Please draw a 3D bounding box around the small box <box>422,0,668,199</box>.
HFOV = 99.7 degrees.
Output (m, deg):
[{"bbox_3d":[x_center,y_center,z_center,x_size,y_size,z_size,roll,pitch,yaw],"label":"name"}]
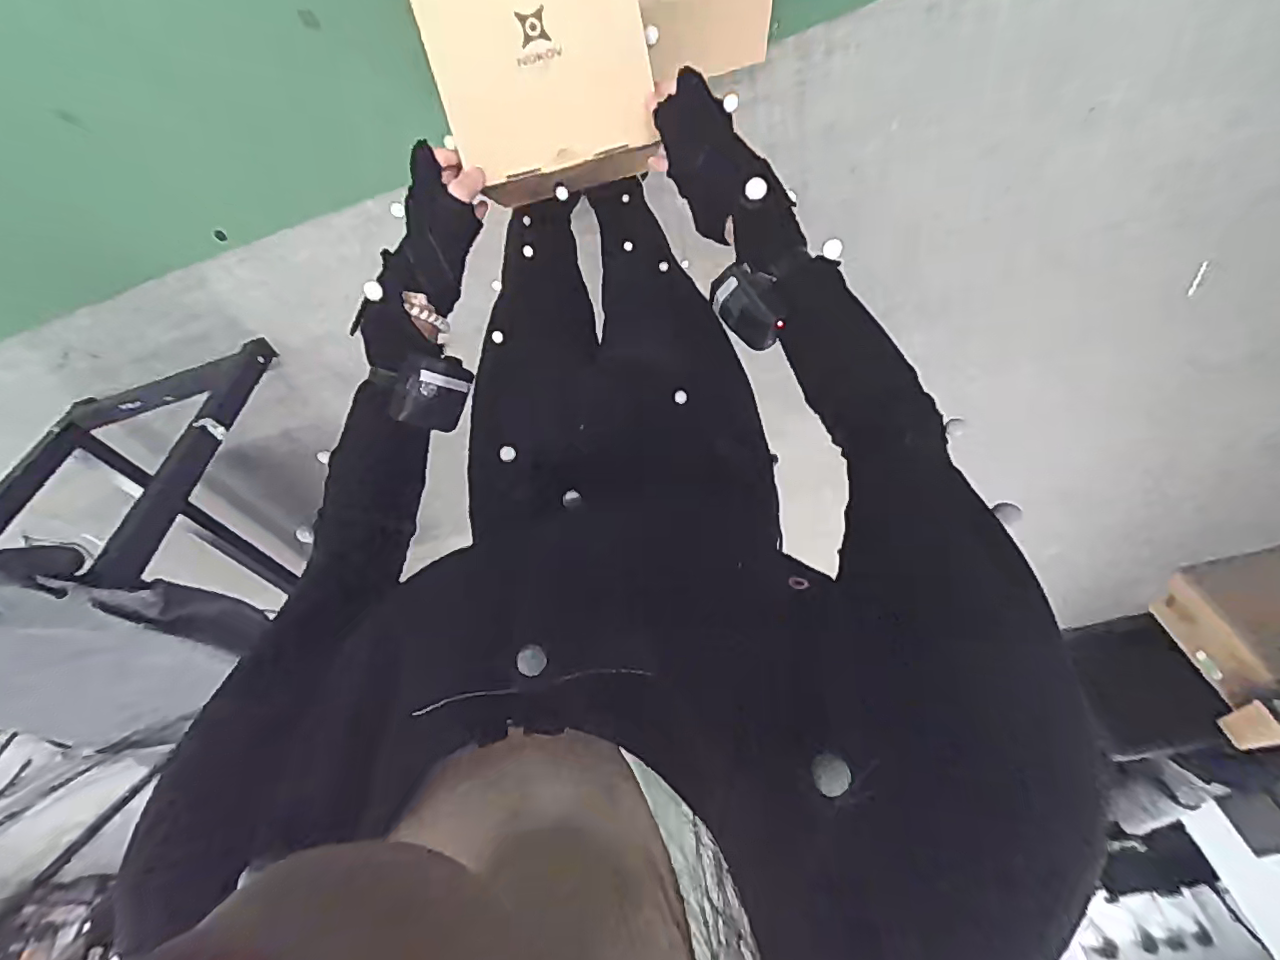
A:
[{"bbox_3d":[-0.084,-0.367,0.480,0.168,0.176,0.179,-15,115,-1],"label":"small box"}]
